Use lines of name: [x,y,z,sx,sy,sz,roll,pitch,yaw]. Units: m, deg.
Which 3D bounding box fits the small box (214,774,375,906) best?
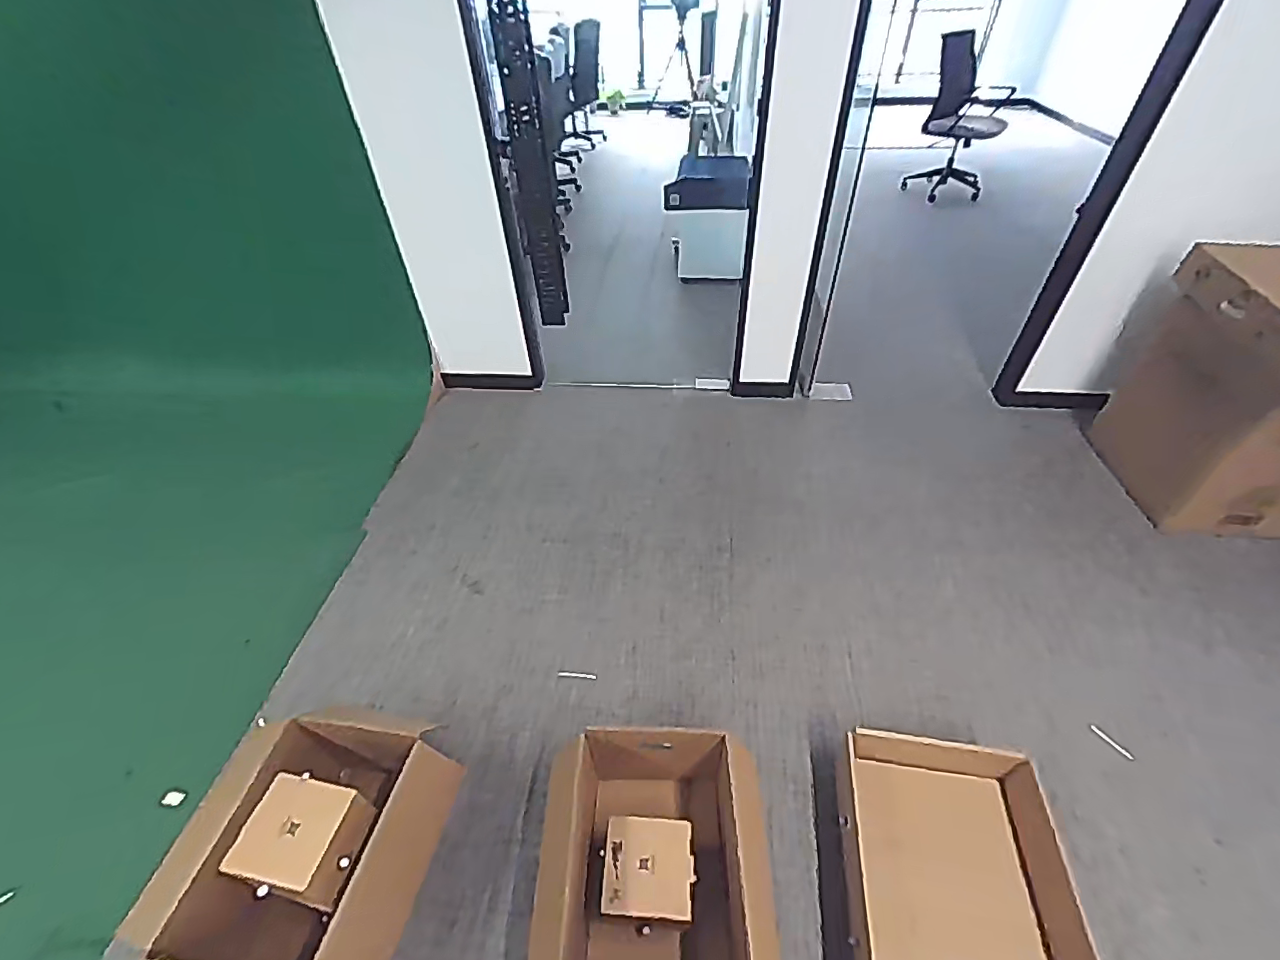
small box: [-0.655,0.704,1.055,0.179,0.176,0.168,7,43,8]
